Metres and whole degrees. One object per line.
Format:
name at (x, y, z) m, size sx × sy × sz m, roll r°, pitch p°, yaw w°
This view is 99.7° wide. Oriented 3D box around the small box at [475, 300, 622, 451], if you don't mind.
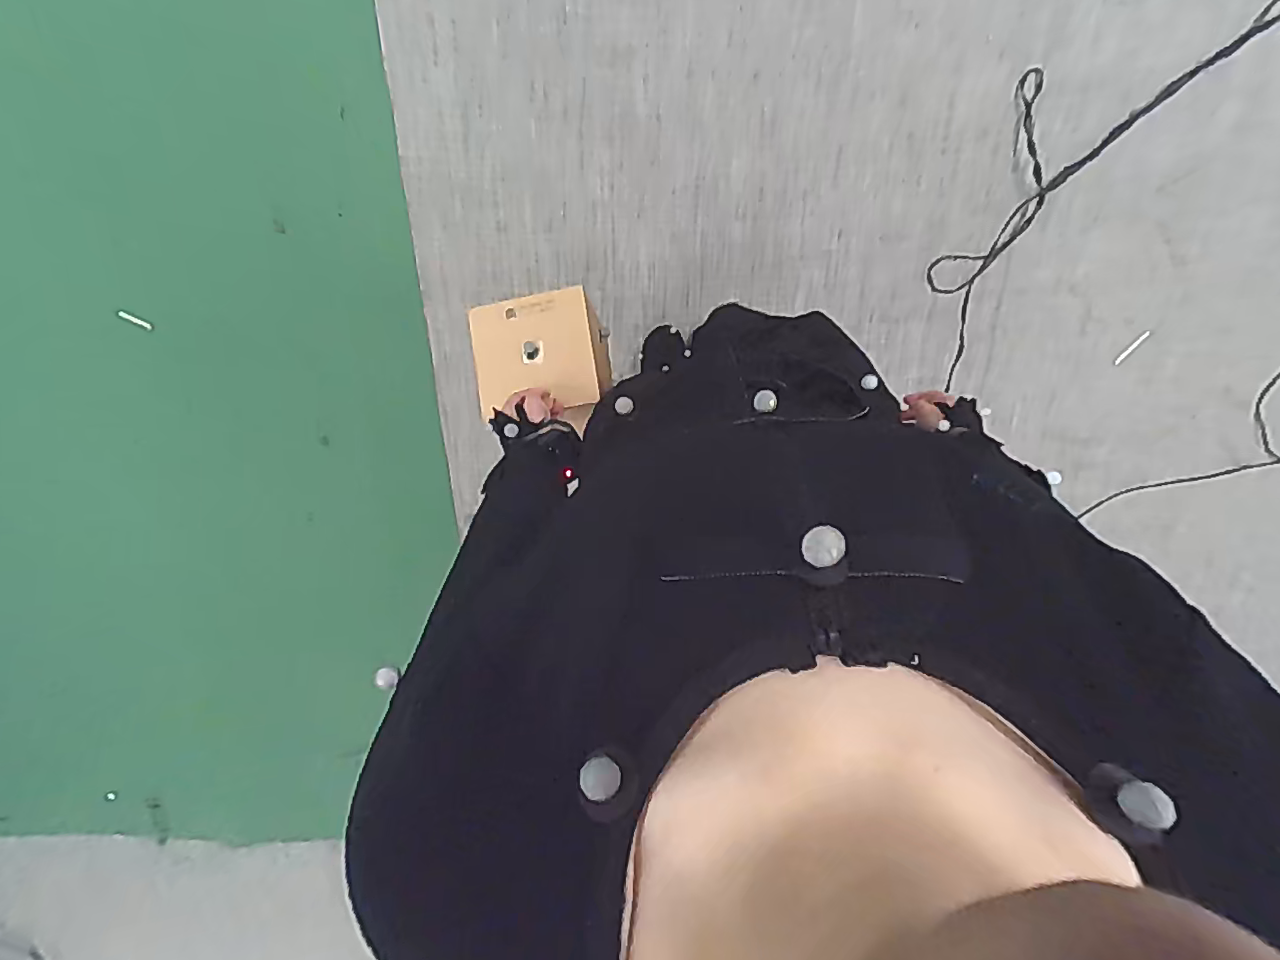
small box at (-0.132, -0.155, 0.812) m, size 0.168 × 0.179 × 0.176 m, roll -11°, pitch 83°, yaw 5°
